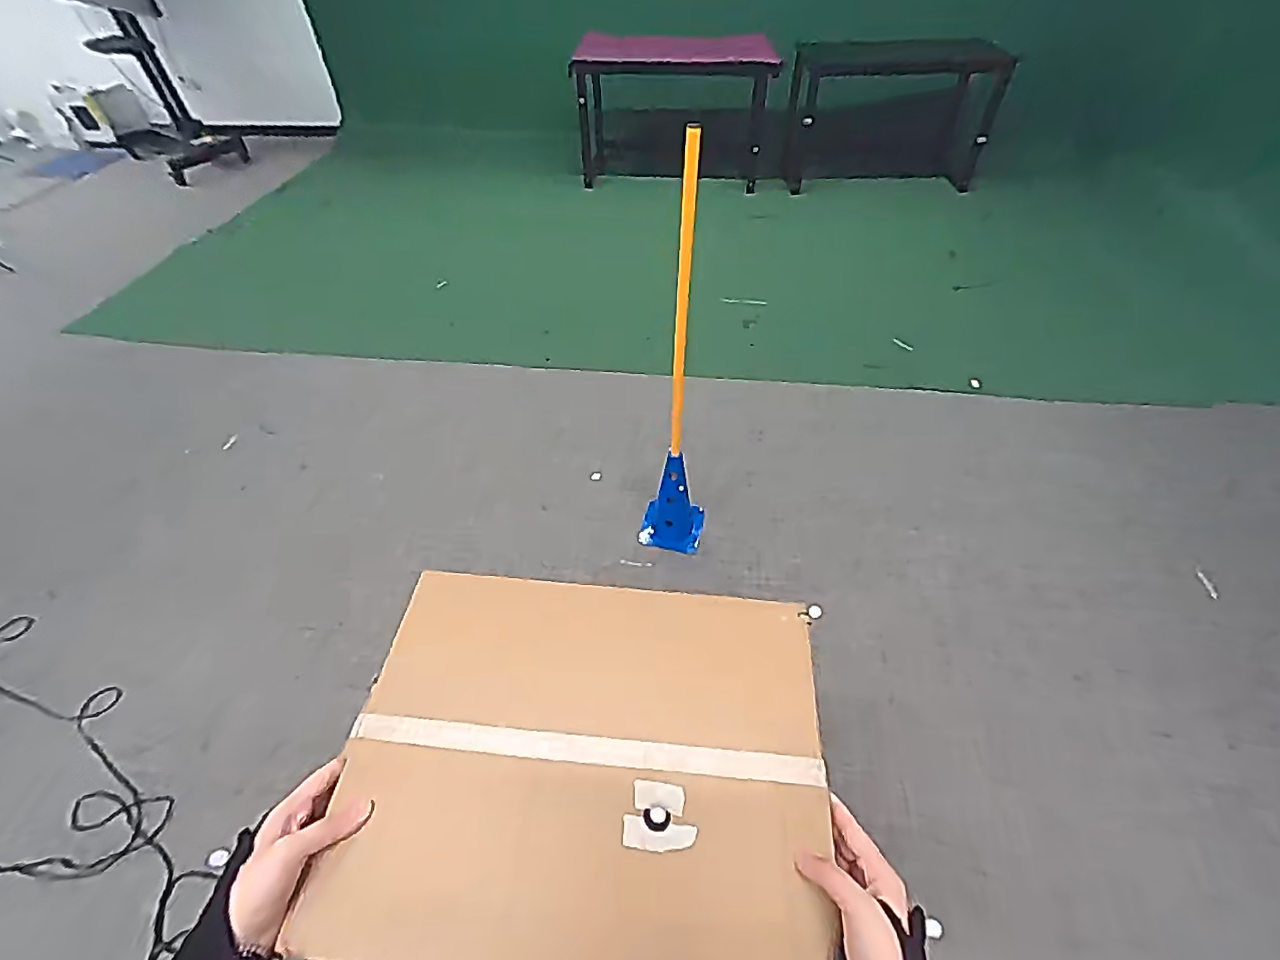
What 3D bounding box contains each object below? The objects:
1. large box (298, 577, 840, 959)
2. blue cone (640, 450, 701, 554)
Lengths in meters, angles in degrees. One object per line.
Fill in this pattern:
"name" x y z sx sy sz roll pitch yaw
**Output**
"large box" -0.046 0.330 0.594 0.408 0.320 0.320 5 51 3
"blue cone" 0.103 0.056 1.739 0.193 0.380 0.192 12 48 11
